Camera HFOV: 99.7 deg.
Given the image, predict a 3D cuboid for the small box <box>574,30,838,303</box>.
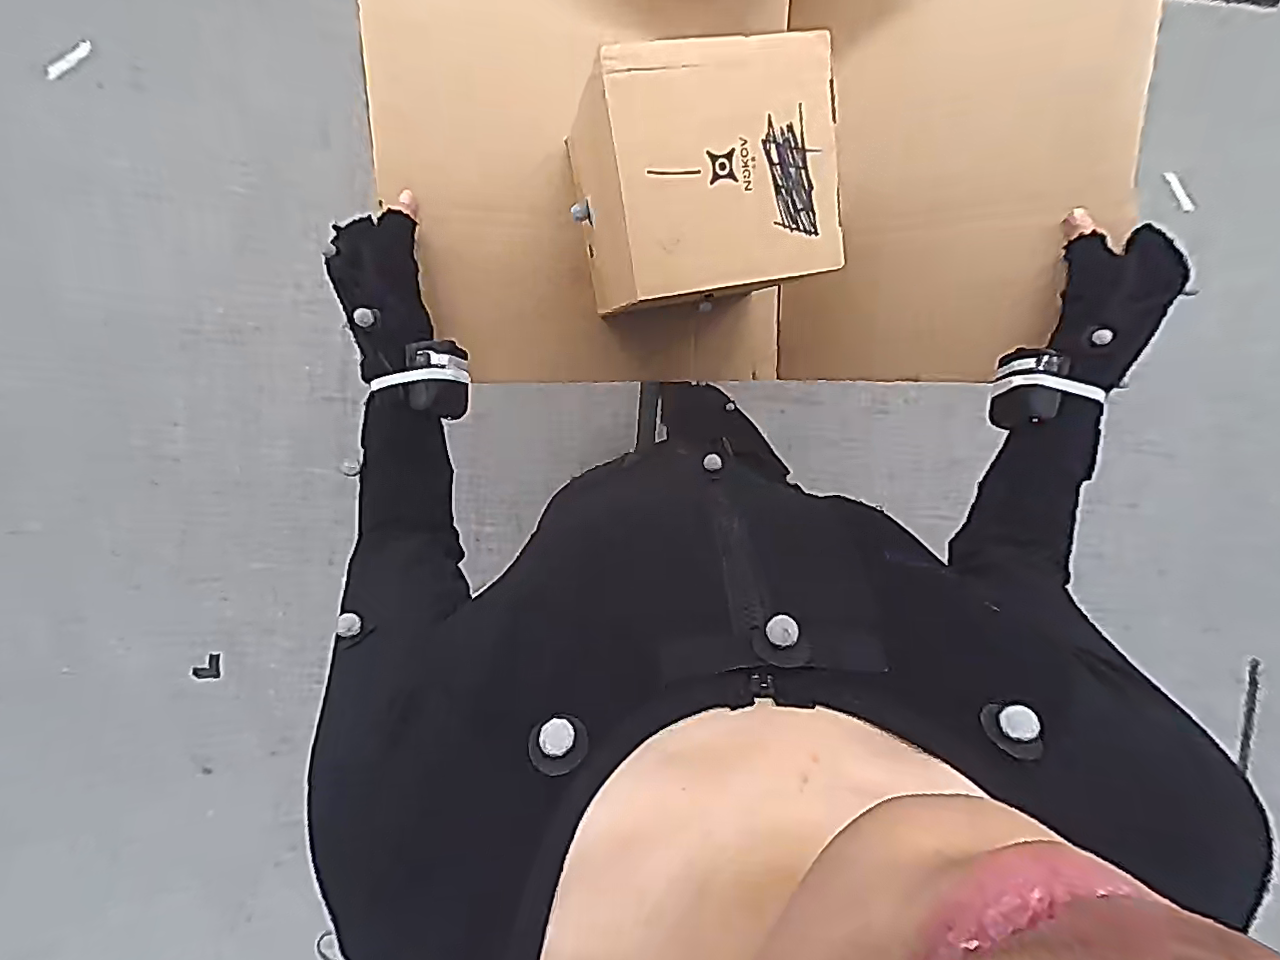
[{"bbox_3d":[0.049,-0.258,0.482,0.179,0.176,0.168,-13,105,-11],"label":"small box"}]
